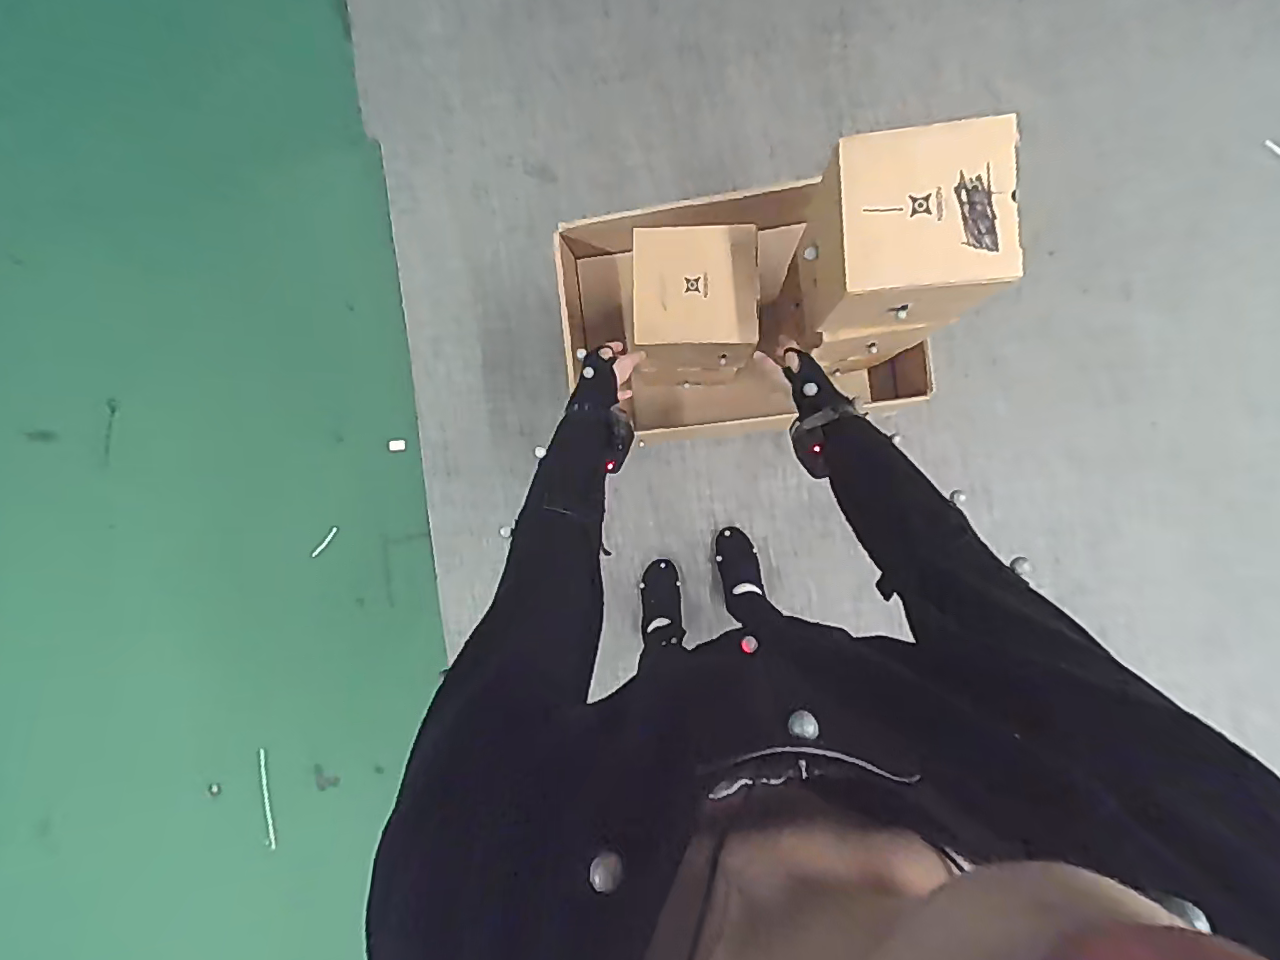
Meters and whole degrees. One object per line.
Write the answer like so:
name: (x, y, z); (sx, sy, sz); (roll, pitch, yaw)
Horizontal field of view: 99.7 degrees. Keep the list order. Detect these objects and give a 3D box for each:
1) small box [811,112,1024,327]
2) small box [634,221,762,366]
small box: (0.306, -0.284, 0.629); (0.179, 0.176, 0.168); (-3, 91, 8)
small box: (0.084, -0.274, 0.822); (0.179, 0.176, 0.168); (0, 90, 4)
